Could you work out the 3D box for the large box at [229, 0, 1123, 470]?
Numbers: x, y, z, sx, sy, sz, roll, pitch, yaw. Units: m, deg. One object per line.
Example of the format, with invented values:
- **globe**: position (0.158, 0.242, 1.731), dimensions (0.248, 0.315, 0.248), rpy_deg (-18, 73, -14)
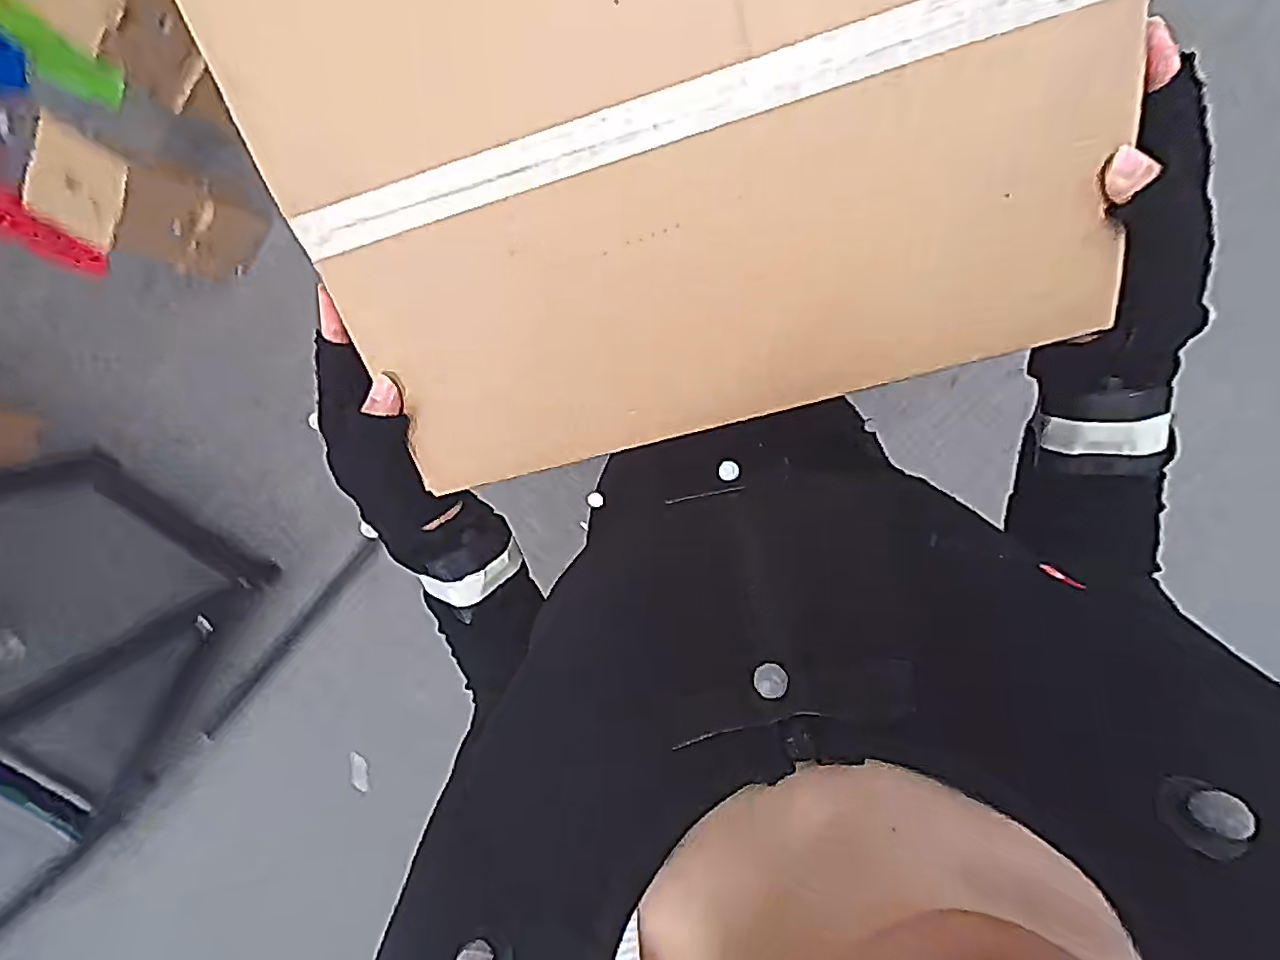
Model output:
- **large box**: position (0.026, -0.246, 0.401), dimensions (0.408, 0.320, 0.320), rpy_deg (-13, 116, 7)
